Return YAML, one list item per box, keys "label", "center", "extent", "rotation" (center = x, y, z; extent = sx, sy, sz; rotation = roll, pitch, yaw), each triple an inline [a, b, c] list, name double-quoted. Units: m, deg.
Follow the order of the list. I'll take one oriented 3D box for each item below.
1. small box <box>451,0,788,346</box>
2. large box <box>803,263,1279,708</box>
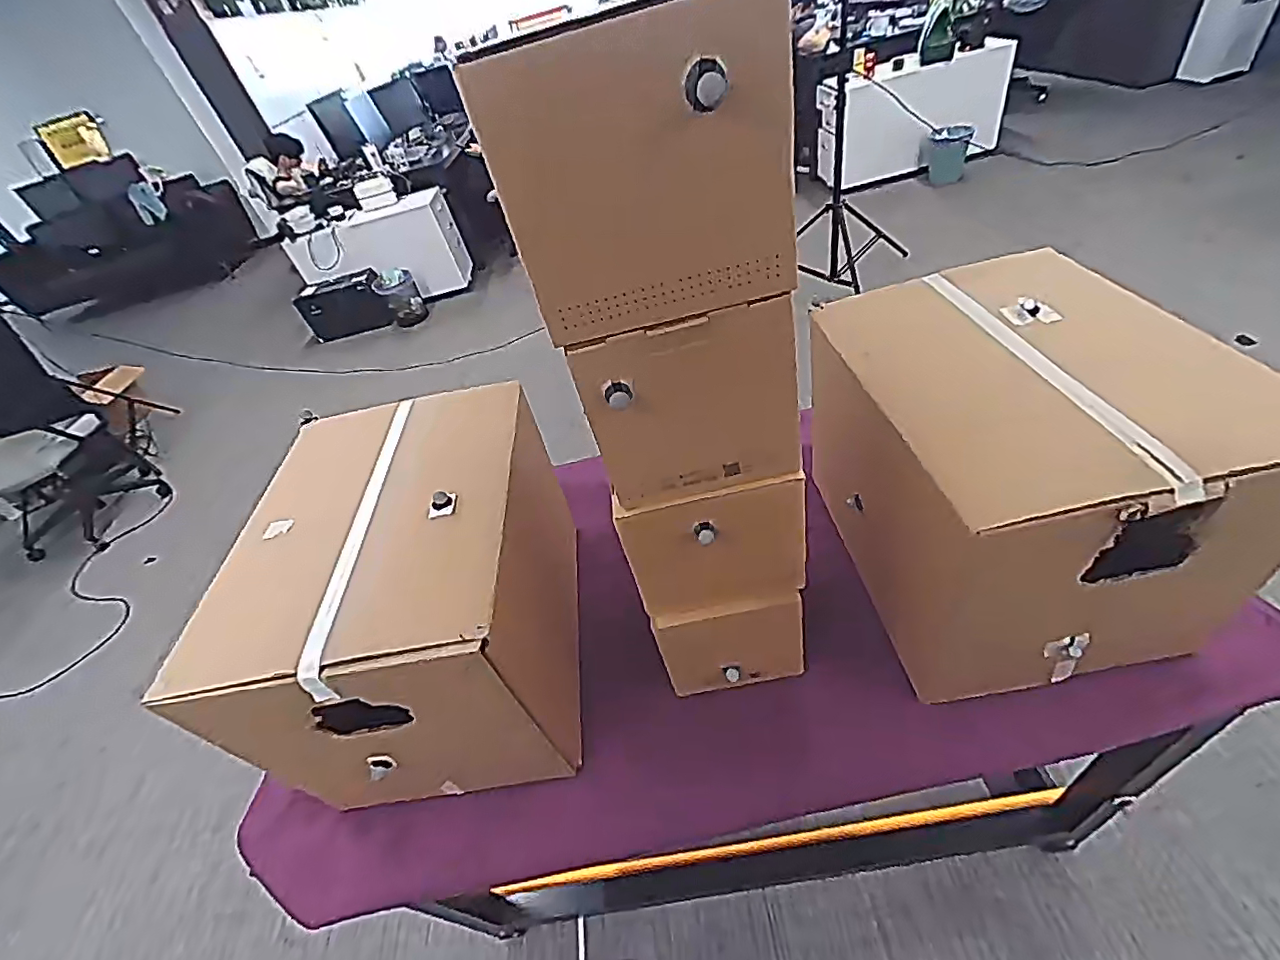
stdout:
- label: "small box"
  center: [0.000, -0.219, 0.381]
  extent: [0.179, 0.176, 0.168]
  rotation: [-12, 41, 6]
- label: "large box"
  center: [0.418, -0.007, 0.654]
  extent: [0.320, 0.320, 0.408]
  rotation: [-13, 41, 4]
